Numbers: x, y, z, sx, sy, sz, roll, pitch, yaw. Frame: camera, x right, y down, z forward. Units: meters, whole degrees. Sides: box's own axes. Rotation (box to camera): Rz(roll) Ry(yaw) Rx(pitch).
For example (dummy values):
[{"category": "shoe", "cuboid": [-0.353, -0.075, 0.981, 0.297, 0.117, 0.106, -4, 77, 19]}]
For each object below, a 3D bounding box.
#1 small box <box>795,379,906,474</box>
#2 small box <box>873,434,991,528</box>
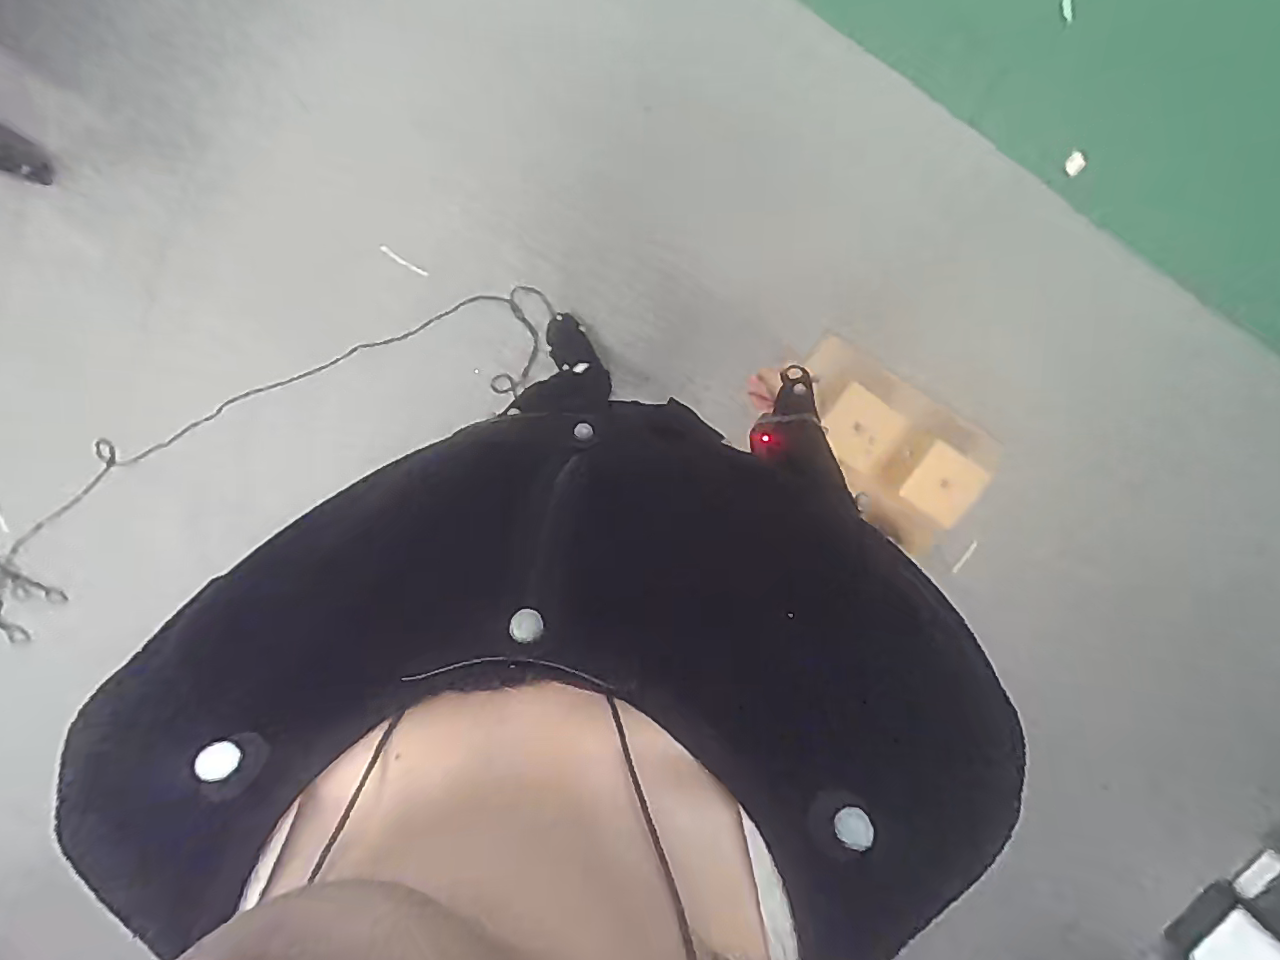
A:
[{"category": "small box", "cuboid": [0.526, -0.143, 1.381, 0.179, 0.176, 0.168, 36, 101, -8]}, {"category": "small box", "cuboid": [0.751, -0.006, 1.413, 0.179, 0.176, 0.168, 32, 102, -7]}]
